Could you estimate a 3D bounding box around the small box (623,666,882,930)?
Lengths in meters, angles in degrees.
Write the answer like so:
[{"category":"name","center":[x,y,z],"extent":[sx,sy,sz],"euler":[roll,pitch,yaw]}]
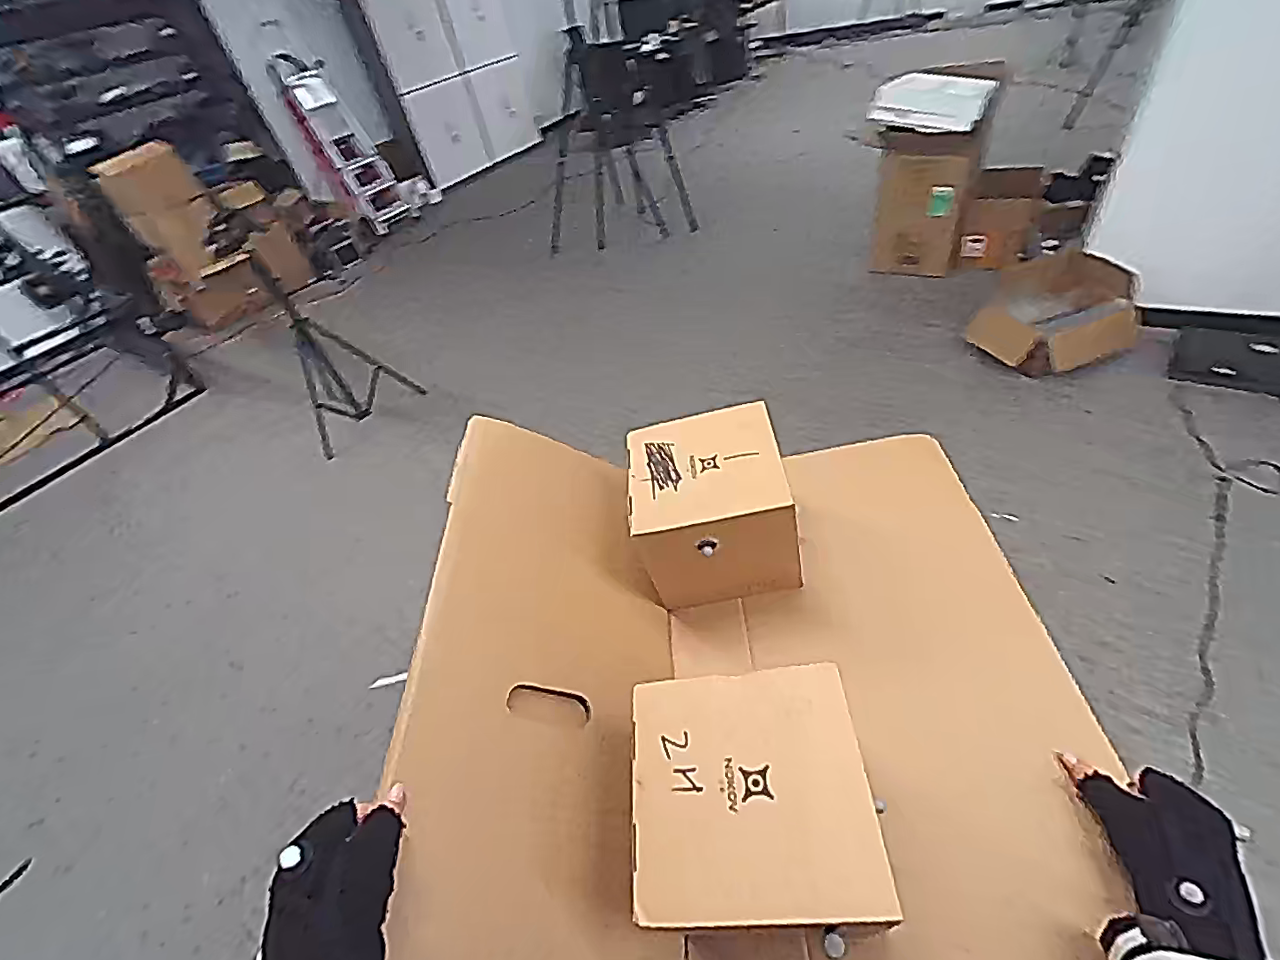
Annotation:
[{"category":"small box","center":[0.092,0.280,0.470],"extent":[0.179,0.176,0.168],"euler":[-12,47,12]}]
